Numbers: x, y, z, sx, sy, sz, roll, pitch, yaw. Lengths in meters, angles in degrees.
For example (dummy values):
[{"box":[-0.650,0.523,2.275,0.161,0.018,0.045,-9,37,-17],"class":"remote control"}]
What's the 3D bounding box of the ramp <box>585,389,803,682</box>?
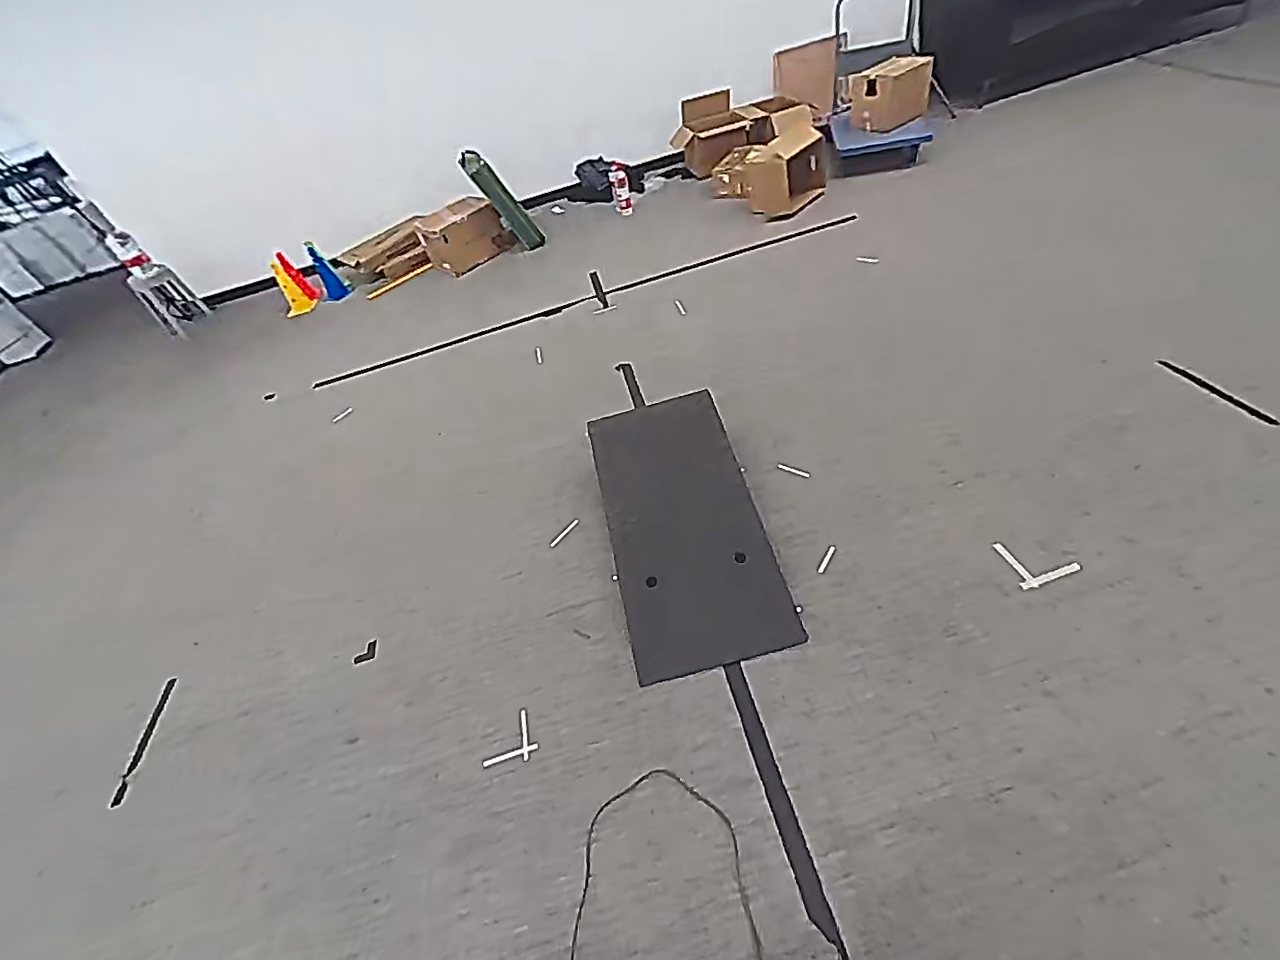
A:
[{"box":[0.127,0.114,1.801,0.509,0.206,0.991,-16,45,-1],"class":"ramp"}]
